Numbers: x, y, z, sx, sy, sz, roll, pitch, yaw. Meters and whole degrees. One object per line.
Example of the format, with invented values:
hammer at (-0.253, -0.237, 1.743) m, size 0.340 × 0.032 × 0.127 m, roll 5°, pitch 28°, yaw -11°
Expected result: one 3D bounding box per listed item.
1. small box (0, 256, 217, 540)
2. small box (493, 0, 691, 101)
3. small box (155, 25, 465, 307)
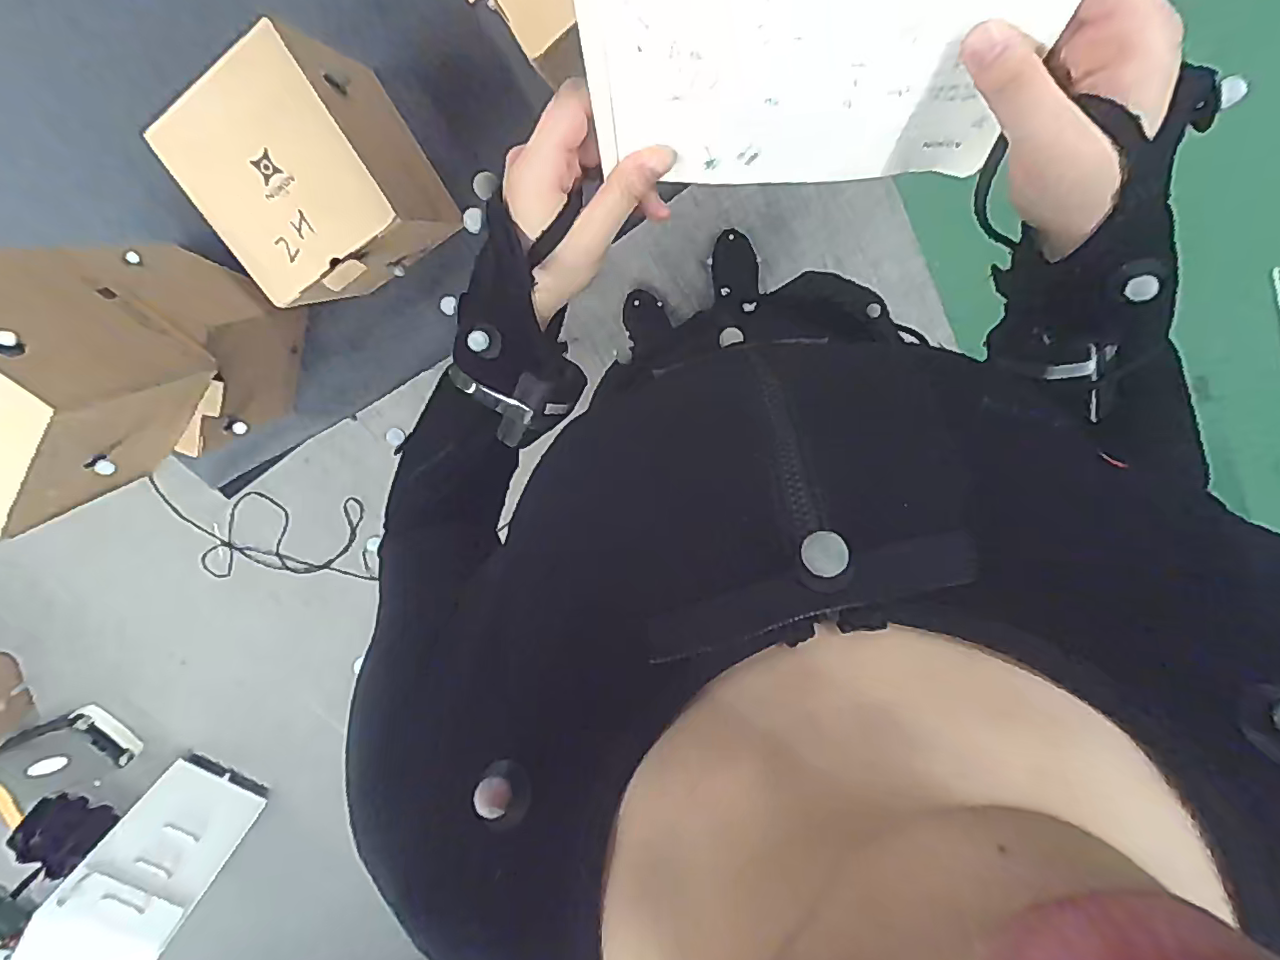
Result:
small box at (-0.556, -0.084, 0.508) m, size 0.168 × 0.176 × 0.179 m, roll 41°, pitch 113°, yaw -13°
small box at (-0.054, -0.474, 0.465) m, size 0.179 × 0.176 × 0.168 m, roll -30°, pitch 108°, yaw 18°
small box at (-0.321, -0.306, 0.566) m, size 0.168 × 0.176 × 0.179 m, roll -26°, pitch 109°, yaw 16°
